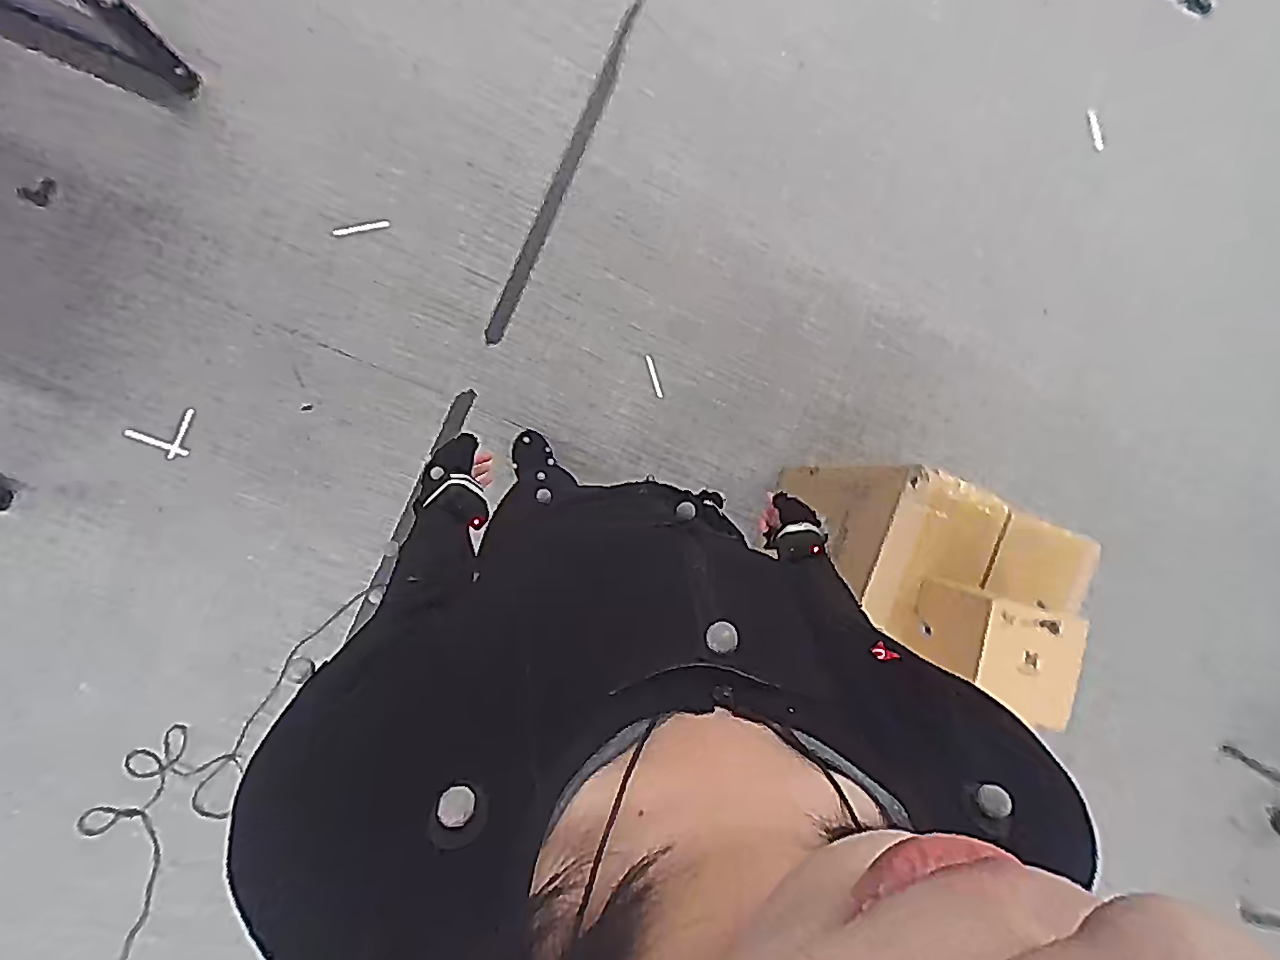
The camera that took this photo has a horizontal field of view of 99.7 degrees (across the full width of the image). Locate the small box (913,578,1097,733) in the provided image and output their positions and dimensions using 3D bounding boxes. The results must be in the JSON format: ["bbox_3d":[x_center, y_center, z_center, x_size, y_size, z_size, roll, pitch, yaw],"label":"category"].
[{"bbox_3d":[0.580,0.276,0.885,0.168,0.176,0.179,14,90,-5],"label":"small box"}]
